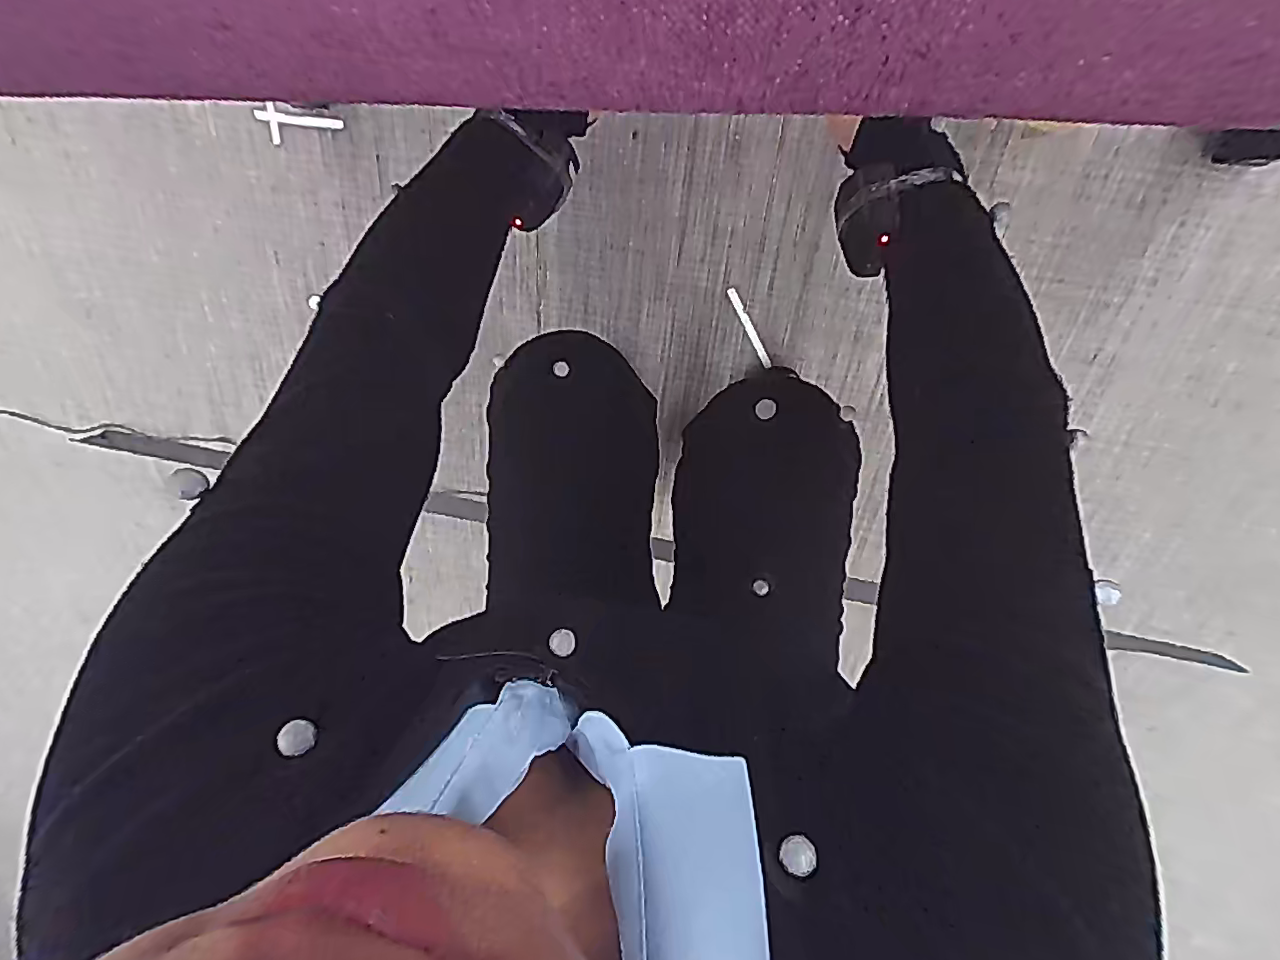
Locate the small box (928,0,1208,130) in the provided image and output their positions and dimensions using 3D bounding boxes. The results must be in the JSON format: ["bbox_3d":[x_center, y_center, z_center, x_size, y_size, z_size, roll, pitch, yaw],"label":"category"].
[{"bbox_3d":[0.405,-0.458,0.517,0.168,0.176,0.179,17,119,2],"label":"small box"}]
